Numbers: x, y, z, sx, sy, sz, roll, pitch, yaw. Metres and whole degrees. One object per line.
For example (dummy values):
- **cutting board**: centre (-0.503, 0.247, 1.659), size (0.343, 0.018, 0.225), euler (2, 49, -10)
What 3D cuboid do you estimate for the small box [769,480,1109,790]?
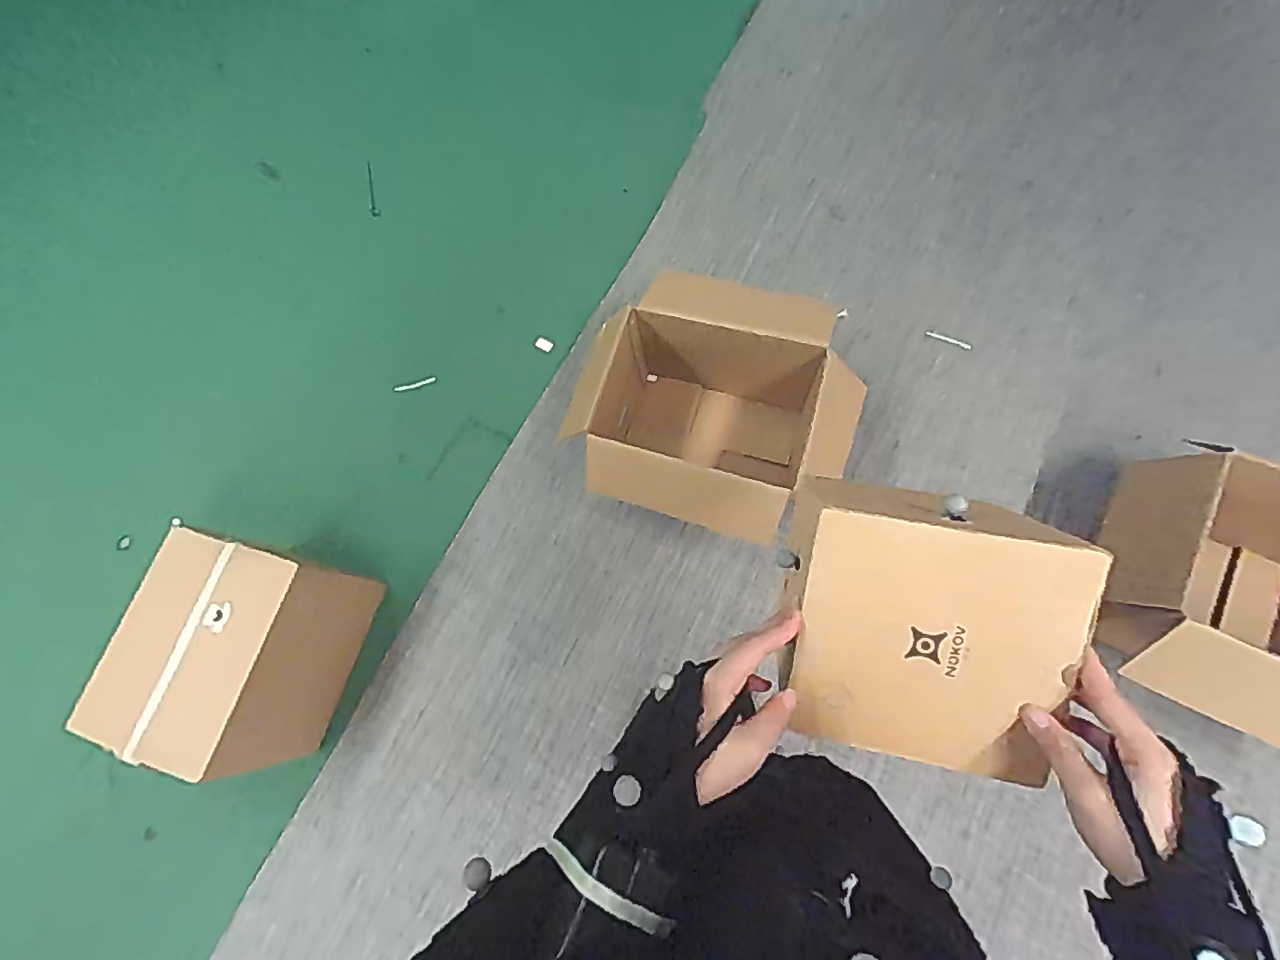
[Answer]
- **small box**: centre (0.203, 0.098, 0.430), size (0.179, 0.176, 0.168), euler (10, 99, 10)
